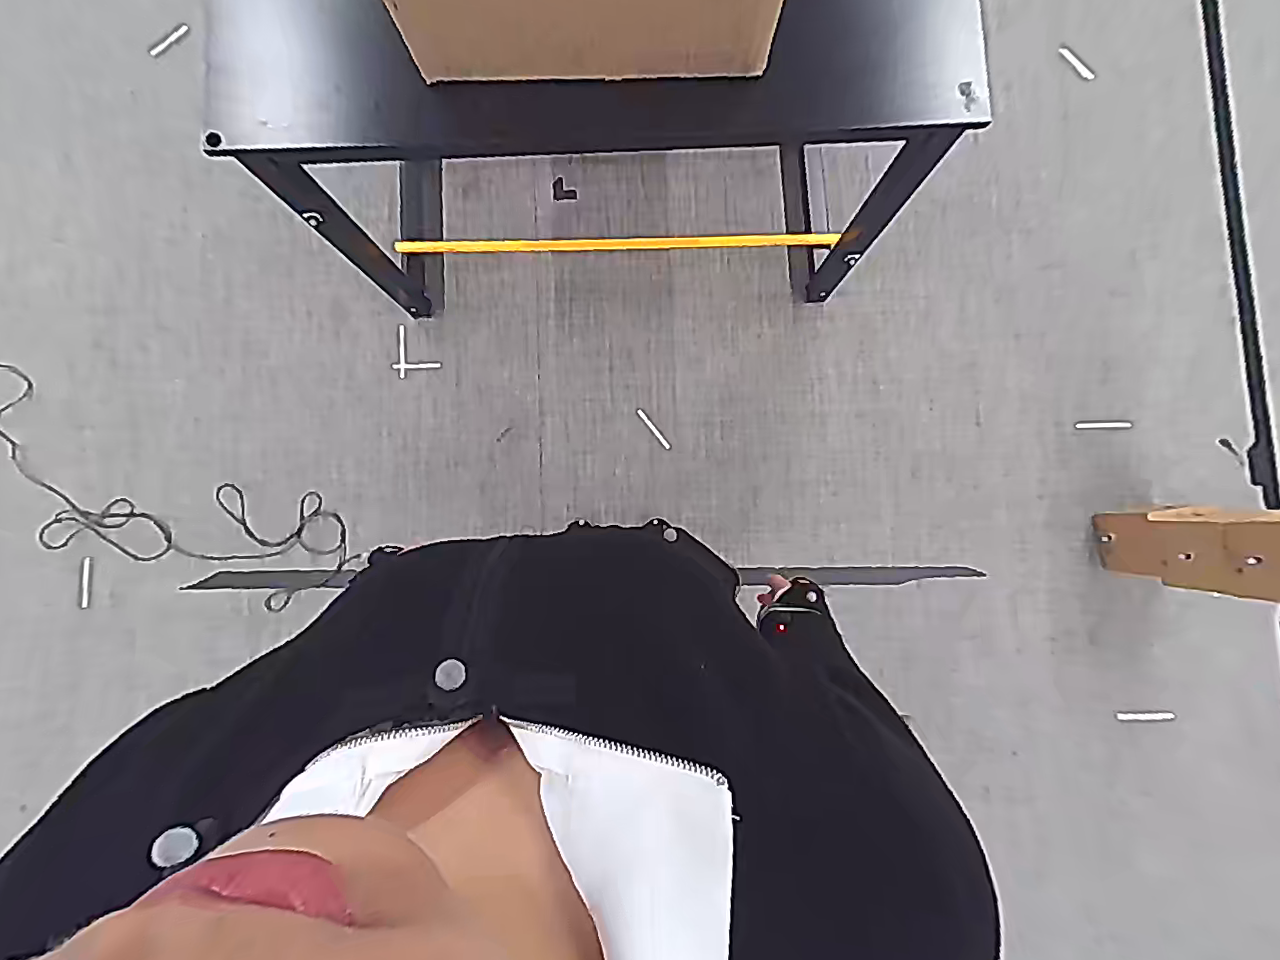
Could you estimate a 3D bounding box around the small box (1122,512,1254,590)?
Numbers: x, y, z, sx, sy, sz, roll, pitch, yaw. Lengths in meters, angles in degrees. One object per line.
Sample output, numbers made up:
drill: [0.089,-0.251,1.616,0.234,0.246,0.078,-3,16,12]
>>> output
small box: [1.375,0.172,1.353,0.179,0.176,0.168,-8,85,1]

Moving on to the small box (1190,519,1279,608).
small box: [1.375,0.179,1.189,0.179,0.176,0.168,-9,86,0]

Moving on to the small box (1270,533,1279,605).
small box: [1.380,0.176,1.023,0.179,0.176,0.168,-4,85,0]
